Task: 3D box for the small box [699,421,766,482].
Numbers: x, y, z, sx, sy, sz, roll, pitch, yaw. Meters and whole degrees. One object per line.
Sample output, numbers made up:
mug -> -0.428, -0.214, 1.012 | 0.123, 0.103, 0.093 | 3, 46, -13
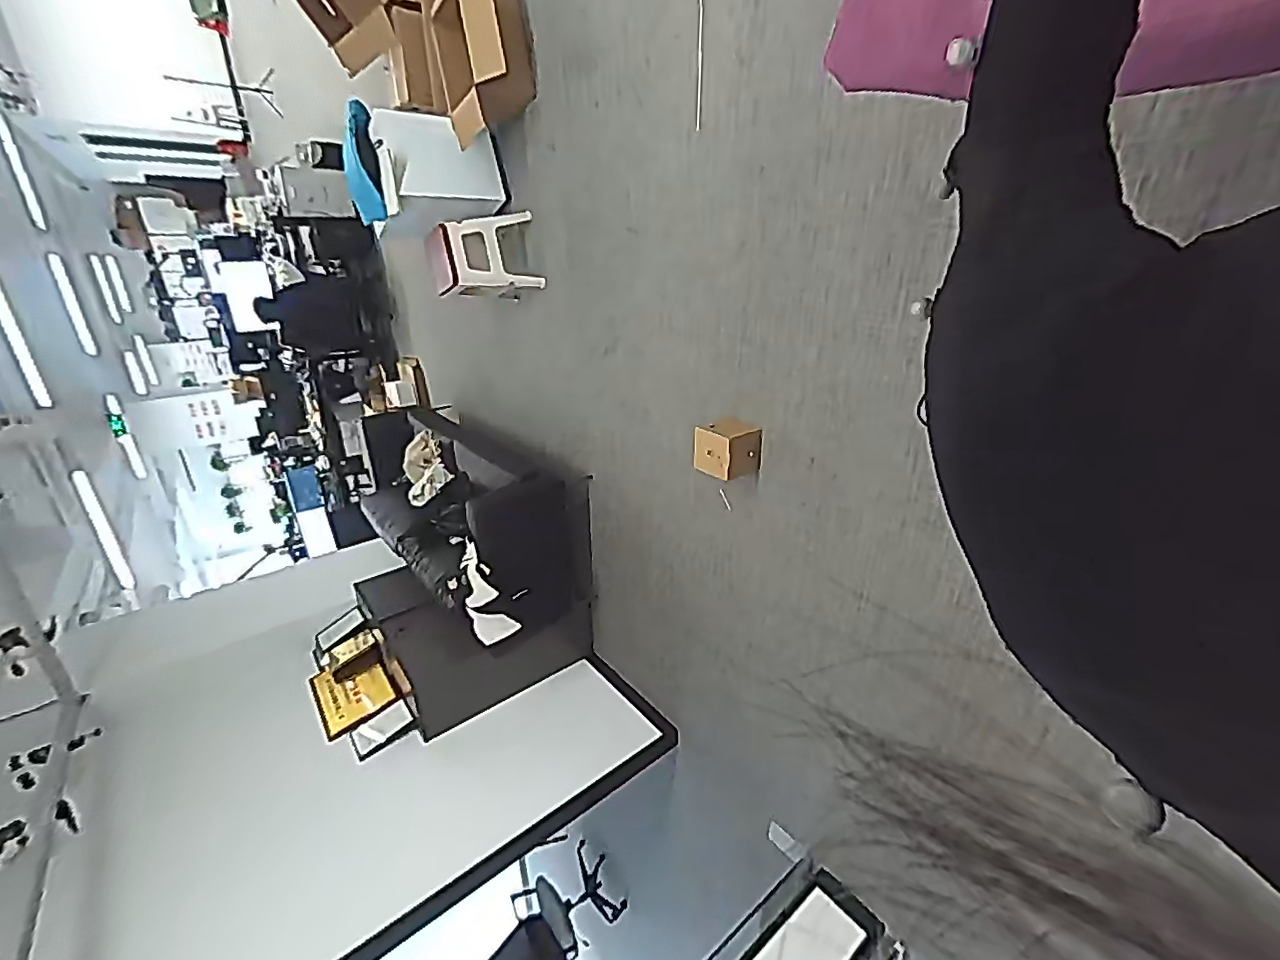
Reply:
small box -> 0.339, -0.112, 1.998 | 0.179, 0.176, 0.168 | 26, 125, 46
